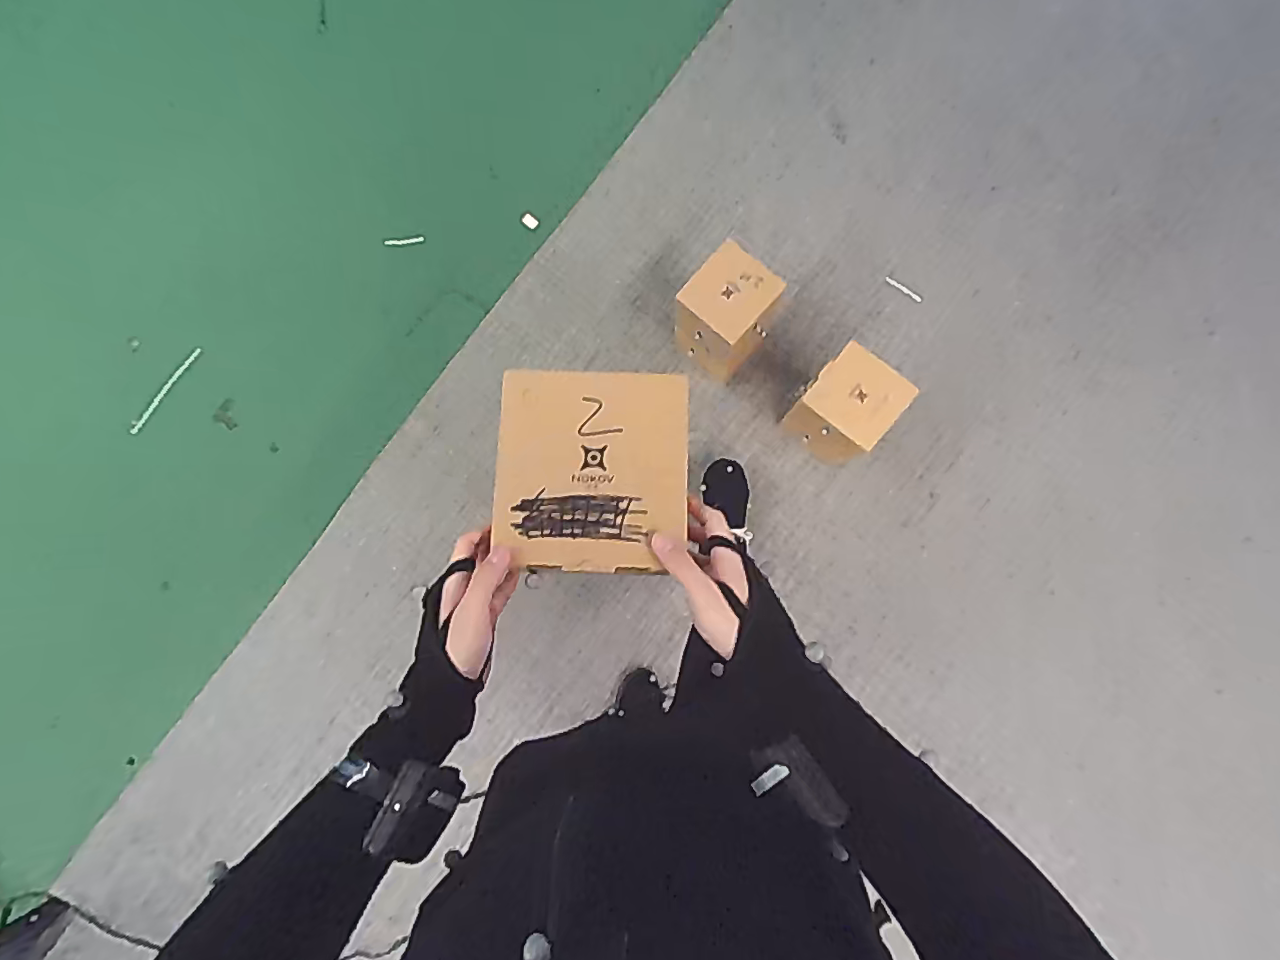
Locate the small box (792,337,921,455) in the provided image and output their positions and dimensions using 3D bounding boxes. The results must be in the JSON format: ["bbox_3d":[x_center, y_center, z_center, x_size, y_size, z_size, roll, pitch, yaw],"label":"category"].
[{"bbox_3d":[0.455,-0.171,1.174,0.179,0.176,0.168,41,90,7],"label":"small box"}]

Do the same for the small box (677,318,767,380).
[{"bbox_3d":[0.213,-0.383,1.382,0.168,0.176,0.179,41,89,7],"label":"small box"}]

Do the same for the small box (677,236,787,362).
[{"bbox_3d":[0.202,-0.396,1.217,0.168,0.176,0.179,43,90,7],"label":"small box"}]

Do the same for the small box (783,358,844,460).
[{"bbox_3d":[0.477,-0.165,1.336,0.179,0.176,0.168,39,90,8],"label":"small box"}]
